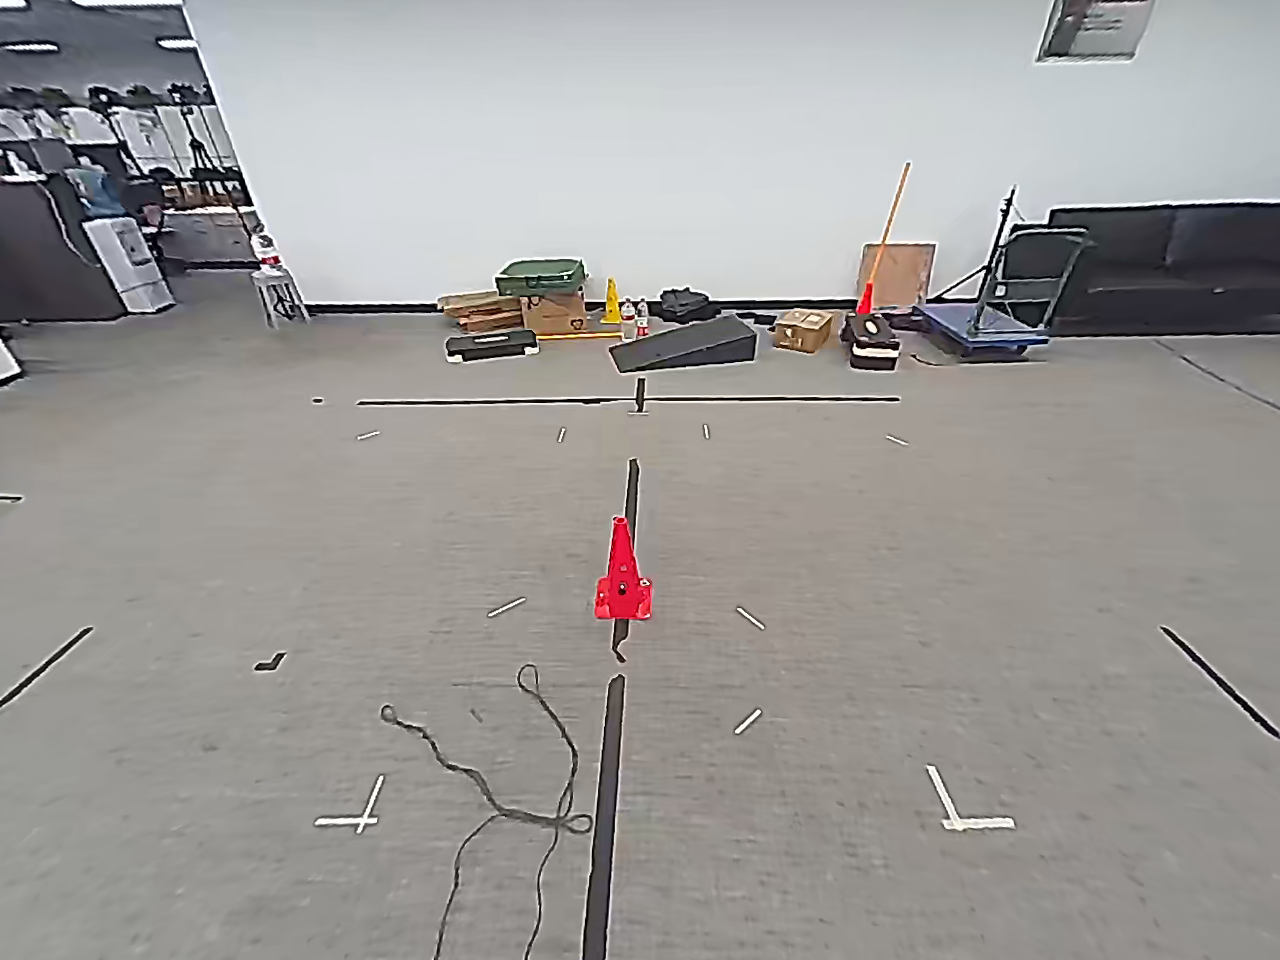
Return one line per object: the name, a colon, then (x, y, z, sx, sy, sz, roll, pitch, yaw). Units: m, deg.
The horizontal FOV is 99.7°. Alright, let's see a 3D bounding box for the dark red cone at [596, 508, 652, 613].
dark red cone: (-0.061, 0.261, 1.847, 0.201, 0.394, 0.202, -1, 34, 2)
